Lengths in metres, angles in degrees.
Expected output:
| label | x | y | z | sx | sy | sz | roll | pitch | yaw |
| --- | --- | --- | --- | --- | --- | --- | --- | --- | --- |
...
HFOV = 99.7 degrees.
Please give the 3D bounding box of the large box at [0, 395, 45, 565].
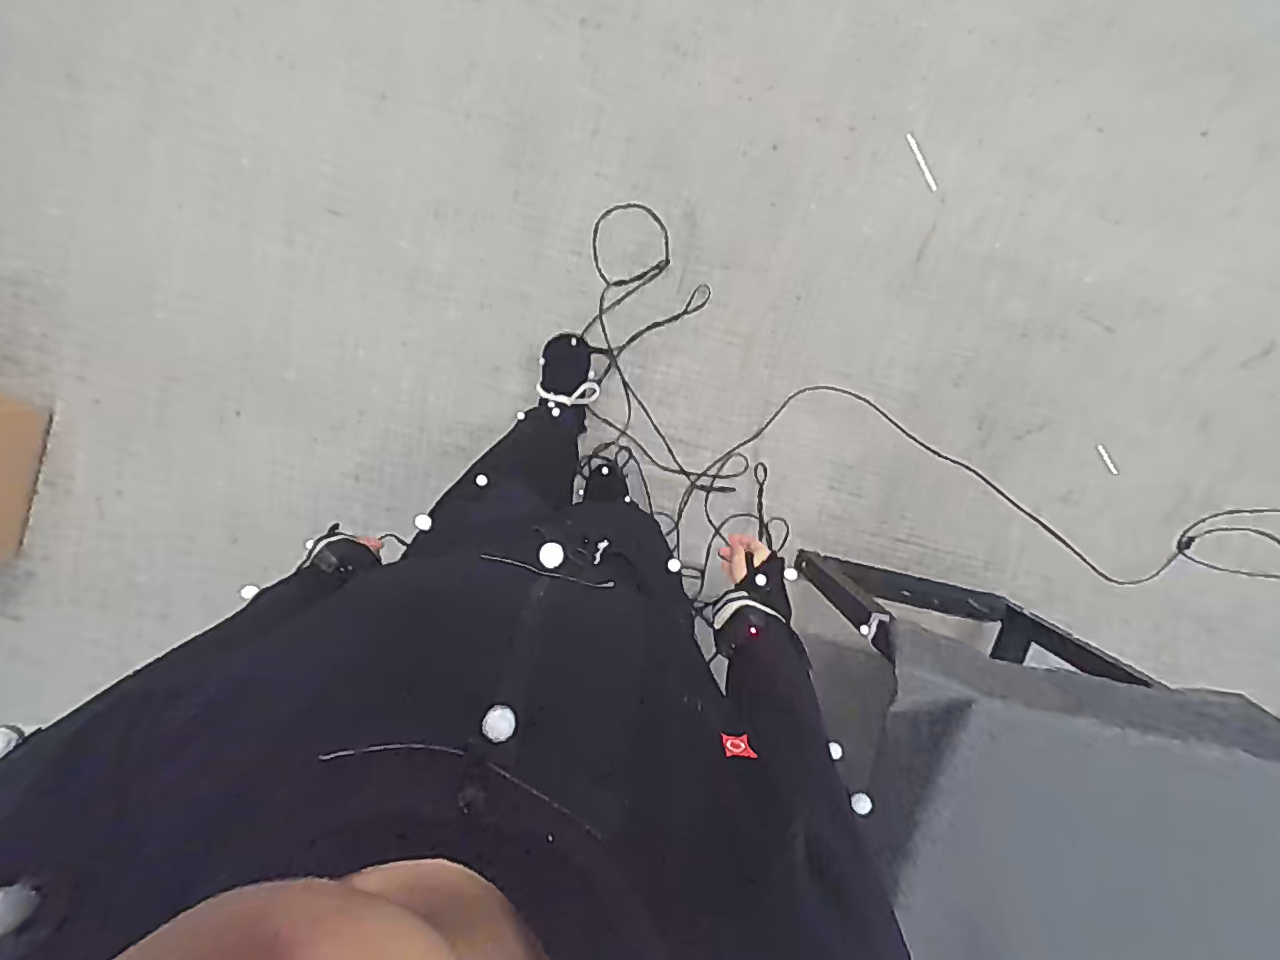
| label | x | y | z | sx | sy | sz | roll | pitch | yaw |
| --- | --- | --- | --- | --- | --- | --- | --- | --- | --- |
| large box | -1.608 | -0.010 | 1.147 | 0.320 | 0.320 | 0.408 | 21 | 97 | -6 |
